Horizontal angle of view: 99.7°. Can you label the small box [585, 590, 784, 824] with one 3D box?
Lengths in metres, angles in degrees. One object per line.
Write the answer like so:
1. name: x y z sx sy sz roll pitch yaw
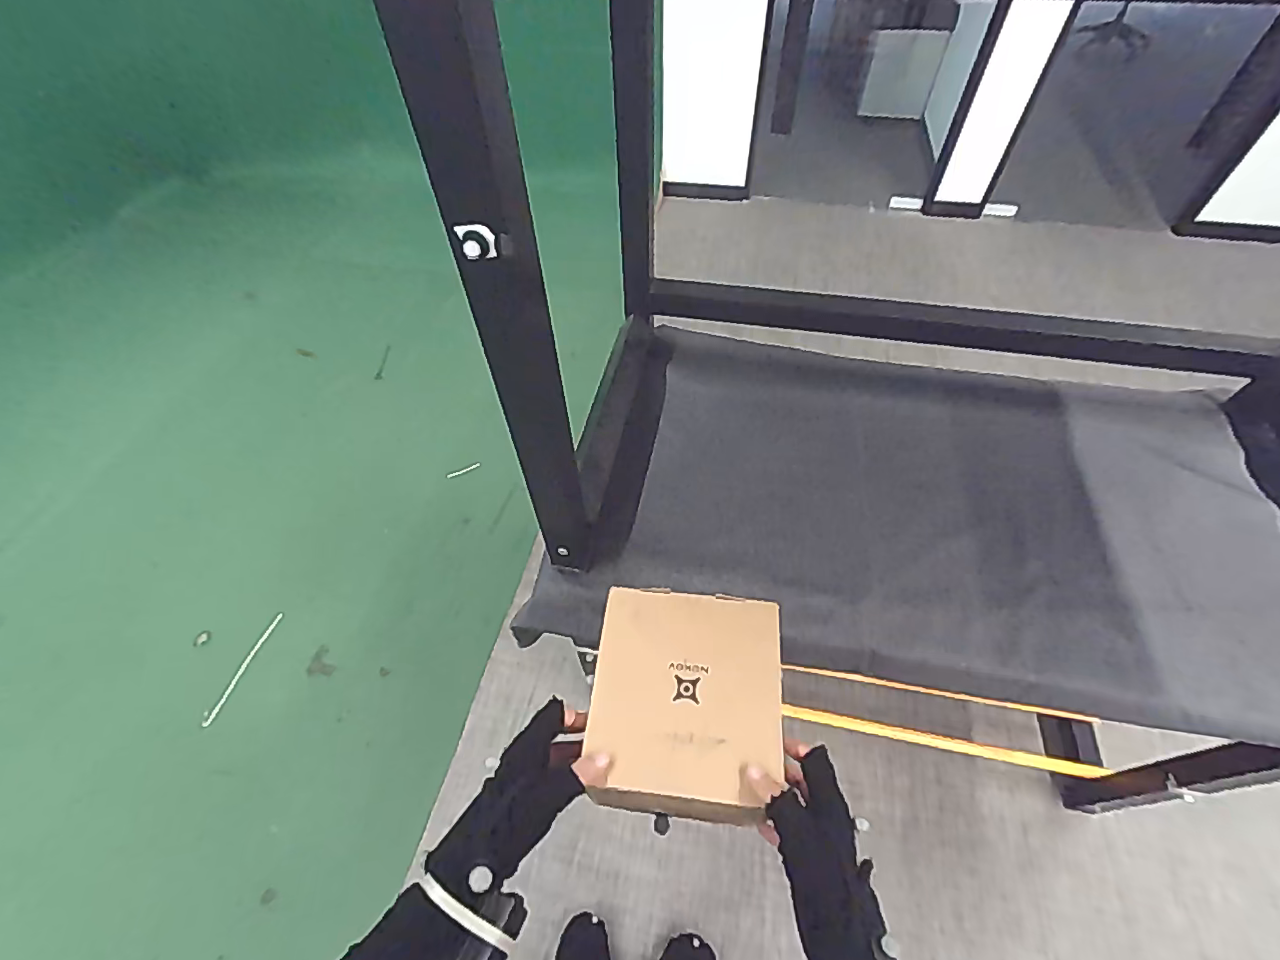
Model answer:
1. small box: 0.046 0.233 0.550 0.168 0.176 0.179 4 55 5
